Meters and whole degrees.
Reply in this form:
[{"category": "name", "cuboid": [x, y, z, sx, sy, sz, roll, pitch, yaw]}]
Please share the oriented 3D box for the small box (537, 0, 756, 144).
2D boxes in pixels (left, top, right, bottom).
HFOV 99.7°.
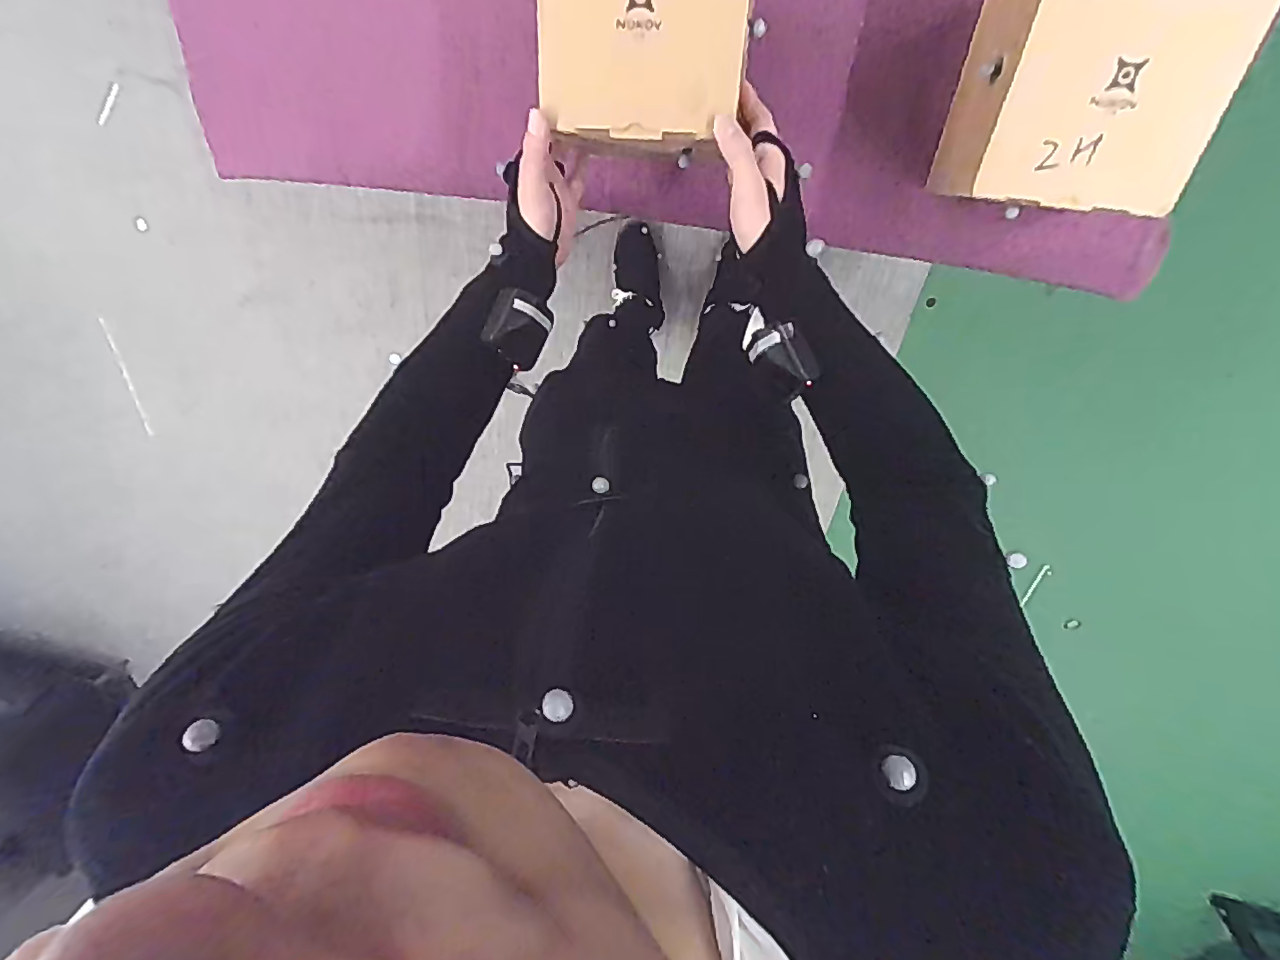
[{"category": "small box", "cuboid": [0.015, -0.409, 0.477, 0.168, 0.176, 0.179, 8, 116, 6]}]
